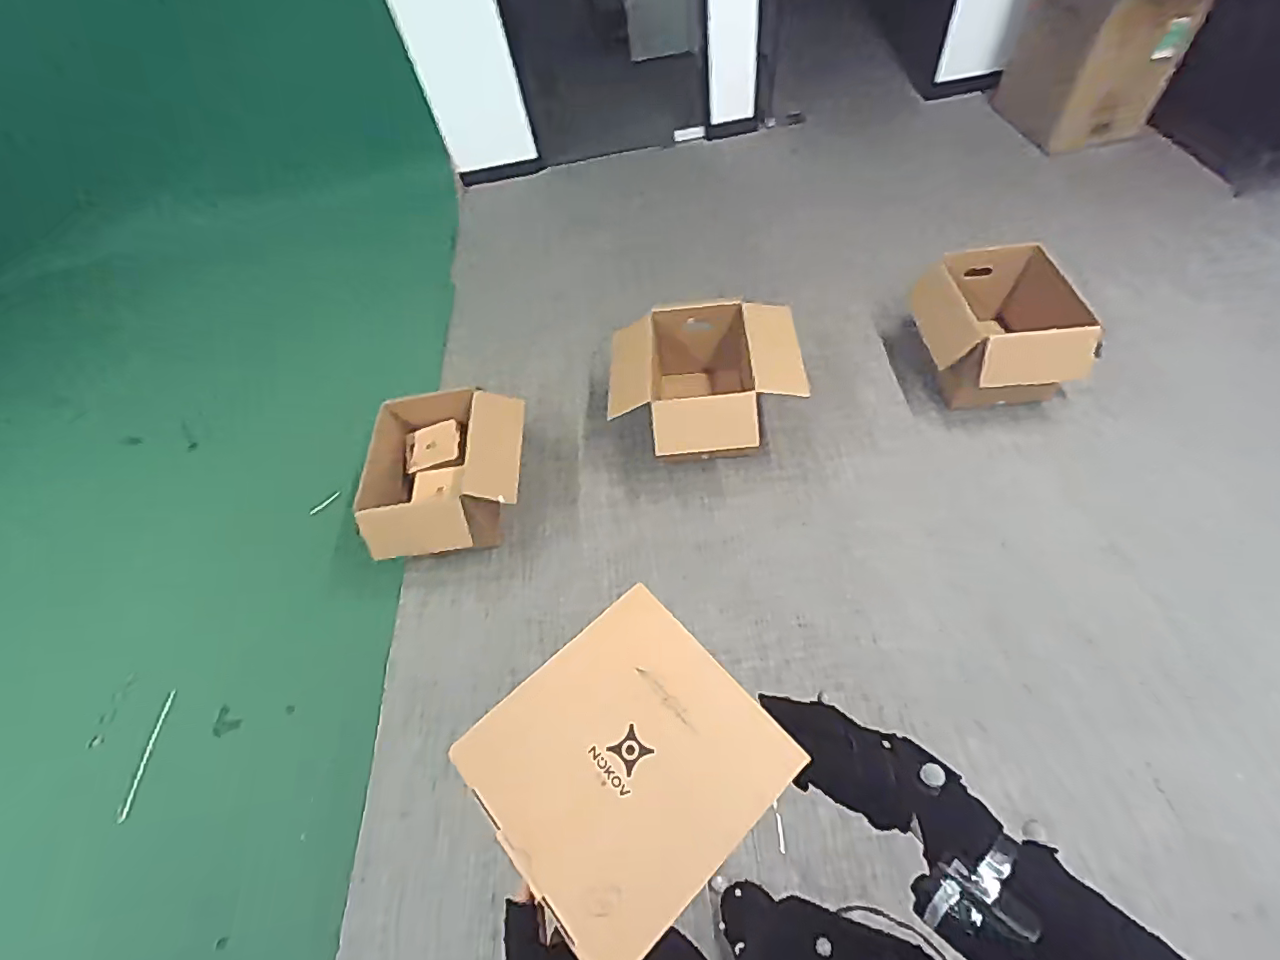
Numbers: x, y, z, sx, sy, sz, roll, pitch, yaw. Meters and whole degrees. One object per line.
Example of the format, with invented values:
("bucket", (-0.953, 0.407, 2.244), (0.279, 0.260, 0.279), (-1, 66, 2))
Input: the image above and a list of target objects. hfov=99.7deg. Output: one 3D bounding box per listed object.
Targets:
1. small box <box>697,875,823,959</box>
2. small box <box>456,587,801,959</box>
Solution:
("small box", (0.236, 0.916, 1.028), (0.168, 0.176, 0.179), (-8, 25, 37))
("small box", (-0.006, 0.223, 0.427), (0.179, 0.176, 0.168), (-37, 65, -19))
